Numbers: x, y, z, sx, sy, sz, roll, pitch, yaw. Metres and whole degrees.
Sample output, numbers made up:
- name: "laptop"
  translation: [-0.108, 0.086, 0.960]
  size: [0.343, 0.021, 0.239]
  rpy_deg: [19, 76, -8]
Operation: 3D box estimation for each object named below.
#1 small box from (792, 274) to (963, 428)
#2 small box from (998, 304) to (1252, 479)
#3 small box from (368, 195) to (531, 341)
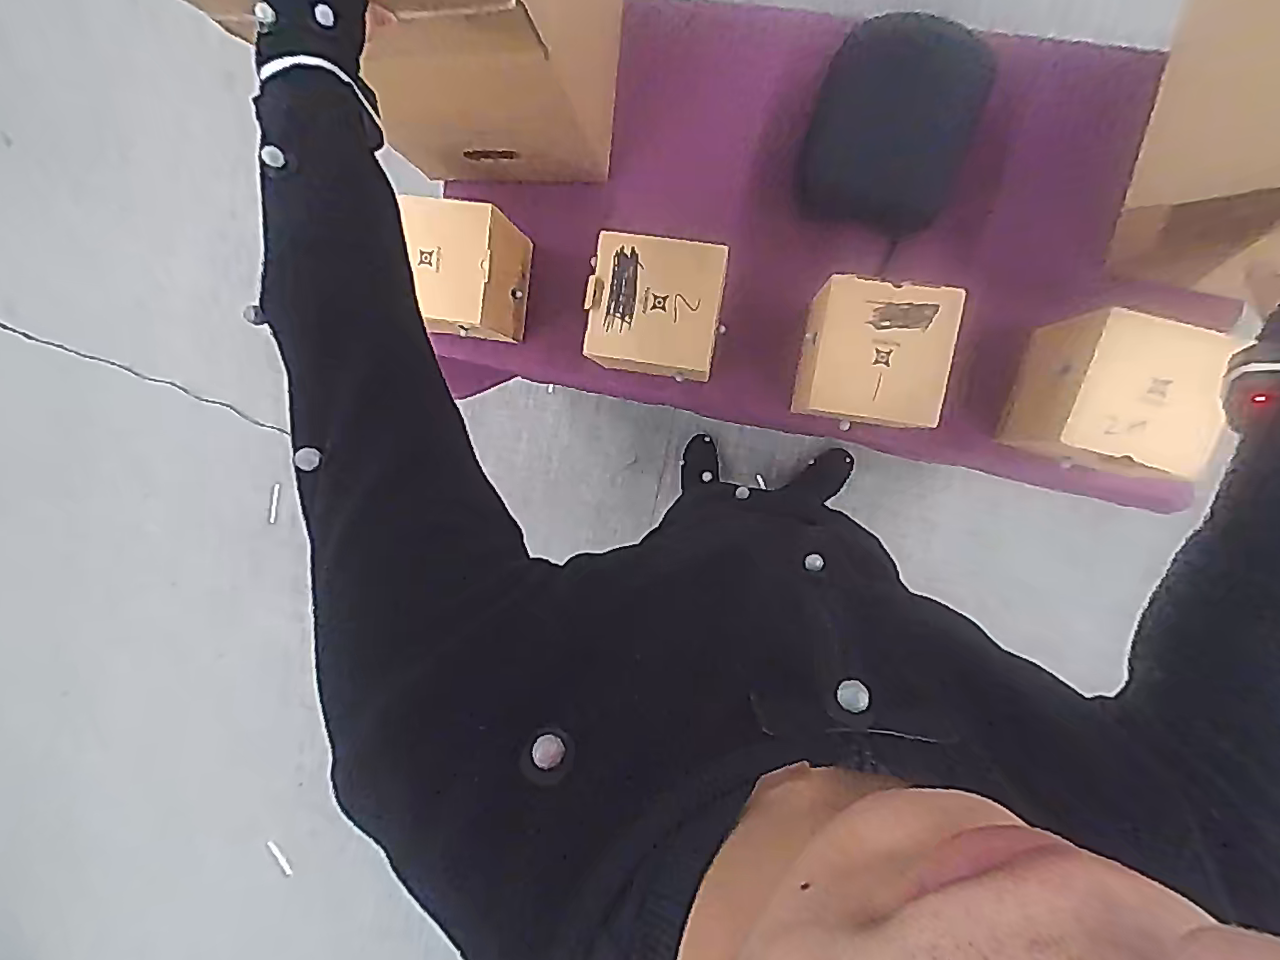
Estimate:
- name: "small box"
  translation: [0.321, -0.173, 0.769]
  size: [0.168, 0.176, 0.179]
  rpy_deg: [10, 98, 7]
- name: "small box"
  translation: [0.629, -0.113, 0.731]
  size: [0.168, 0.176, 0.179]
  rpy_deg: [18, 98, 7]
- name: "small box"
  translation: [-0.286, -0.316, 0.838]
  size: [0.179, 0.176, 0.168]
  rpy_deg: [8, 97, 6]
